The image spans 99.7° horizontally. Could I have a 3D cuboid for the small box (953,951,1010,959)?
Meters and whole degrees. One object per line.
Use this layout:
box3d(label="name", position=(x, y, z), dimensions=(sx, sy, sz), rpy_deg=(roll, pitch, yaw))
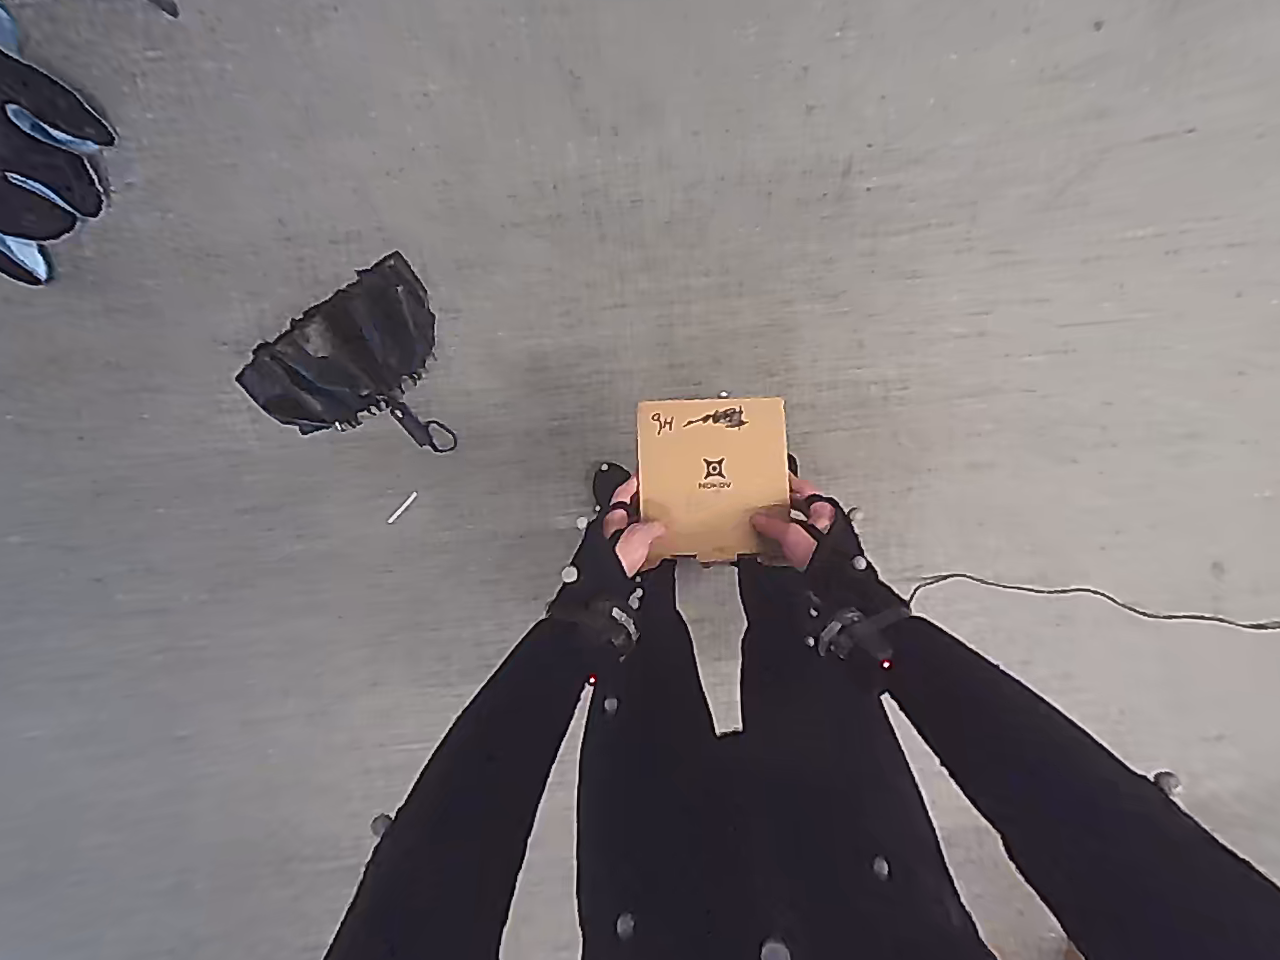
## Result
box3d(label="small box", position=(0.996, 1.479, 1.516), dimensions=(0.168, 0.176, 0.179), rpy_deg=(-1, 103, 0))
